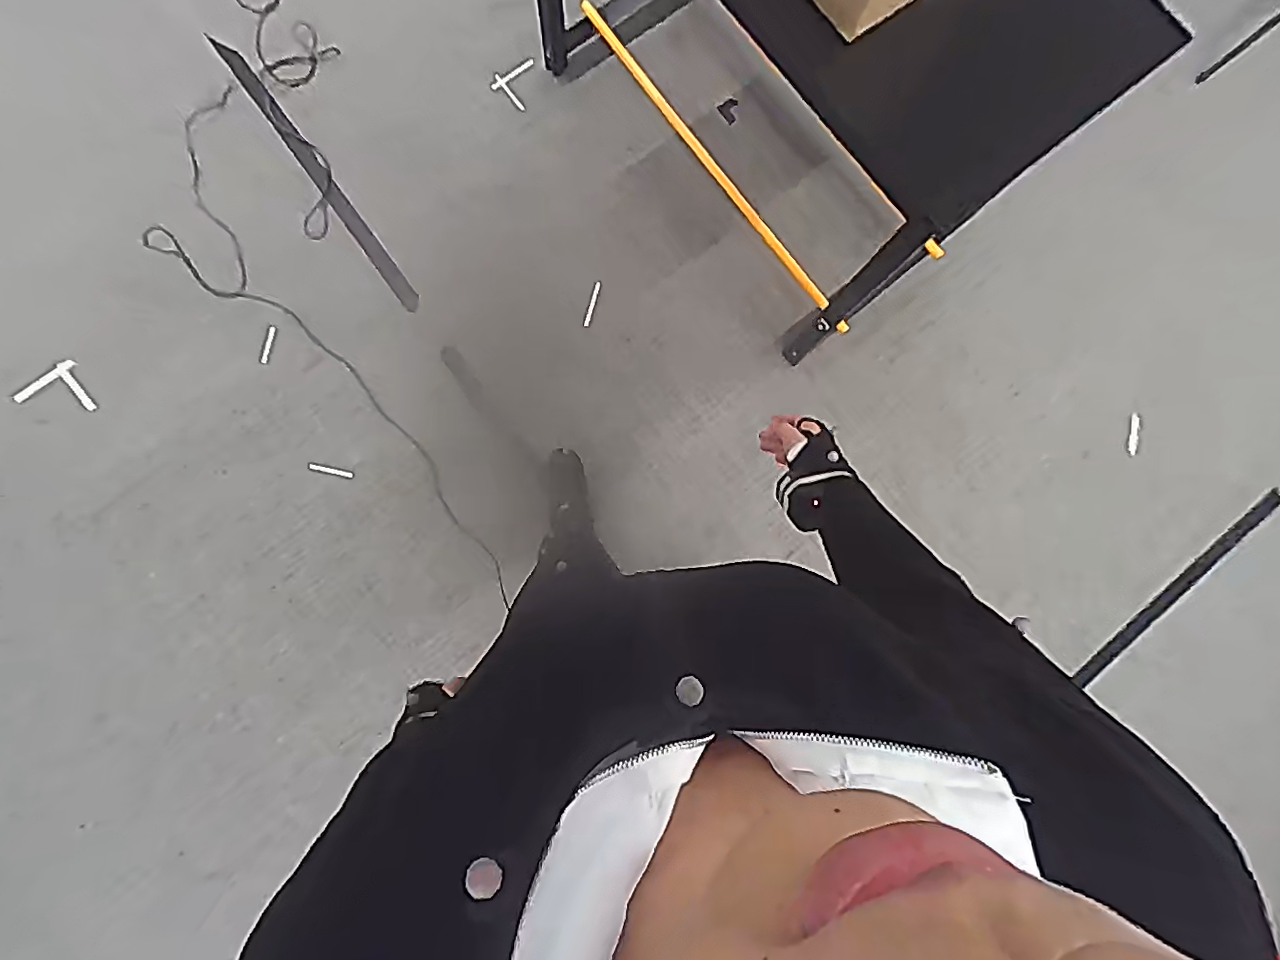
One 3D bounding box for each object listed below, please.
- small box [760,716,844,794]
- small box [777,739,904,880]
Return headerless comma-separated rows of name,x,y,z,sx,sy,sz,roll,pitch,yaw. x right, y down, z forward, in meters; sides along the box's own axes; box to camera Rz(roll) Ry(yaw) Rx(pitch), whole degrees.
small box,0.435,0.740,1.378,0.179,0.176,0.168,-41,87,-6
small box,0.440,0.726,1.214,0.168,0.176,0.179,-37,87,-6
